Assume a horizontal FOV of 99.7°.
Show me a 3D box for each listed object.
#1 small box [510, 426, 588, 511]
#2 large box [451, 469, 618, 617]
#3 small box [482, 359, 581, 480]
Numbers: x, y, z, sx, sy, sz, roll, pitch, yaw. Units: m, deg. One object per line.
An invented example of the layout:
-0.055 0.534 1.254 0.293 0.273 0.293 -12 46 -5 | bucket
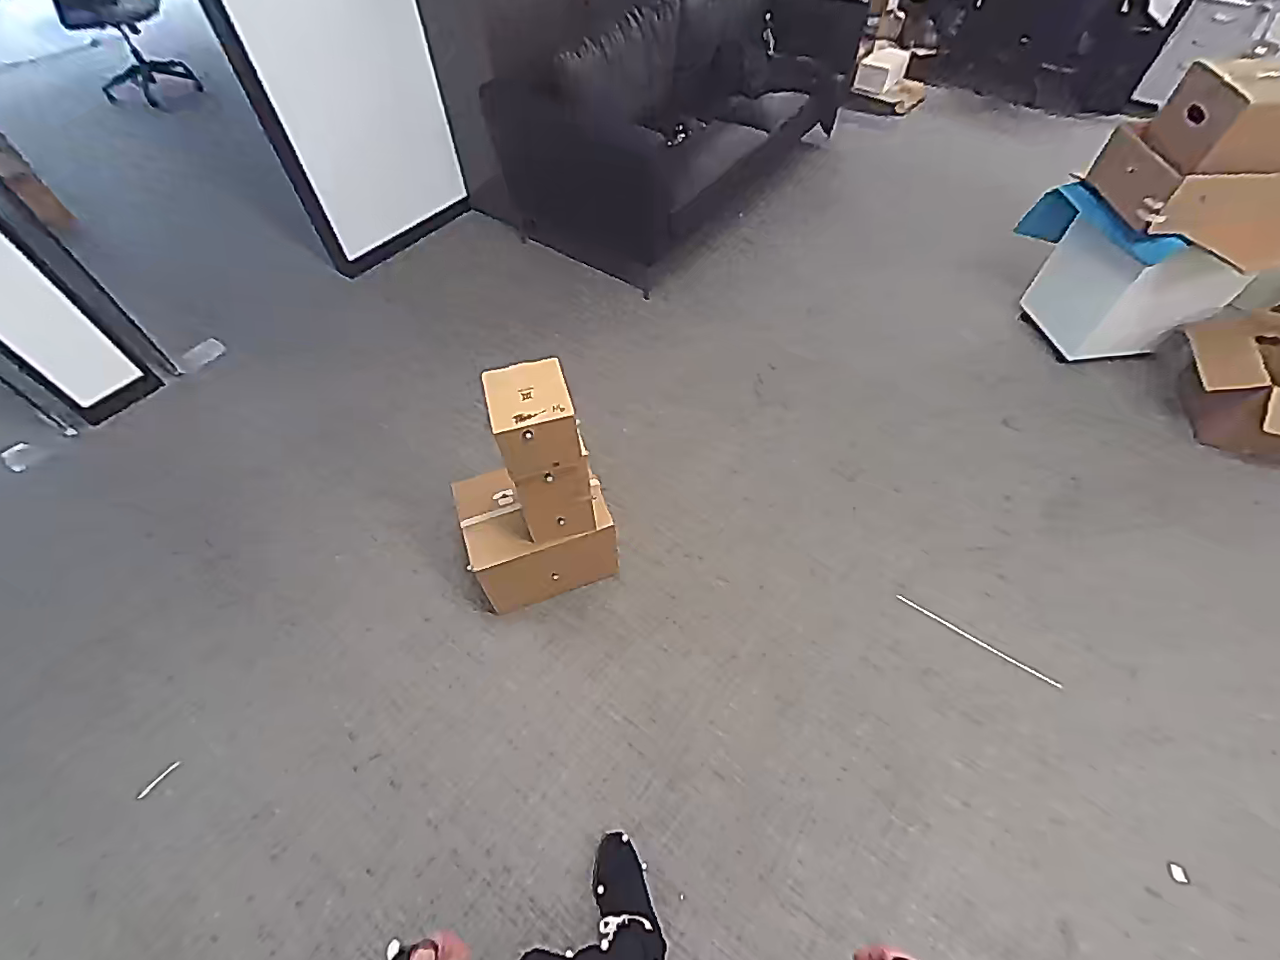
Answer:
-0.227 -0.049 1.307 0.179 0.176 0.168 -16 57 -9 | small box
-0.311 0.163 1.657 0.408 0.320 0.320 -19 56 -12 | large box
-0.230 -0.128 1.163 0.168 0.176 0.179 -15 56 -8 | small box
